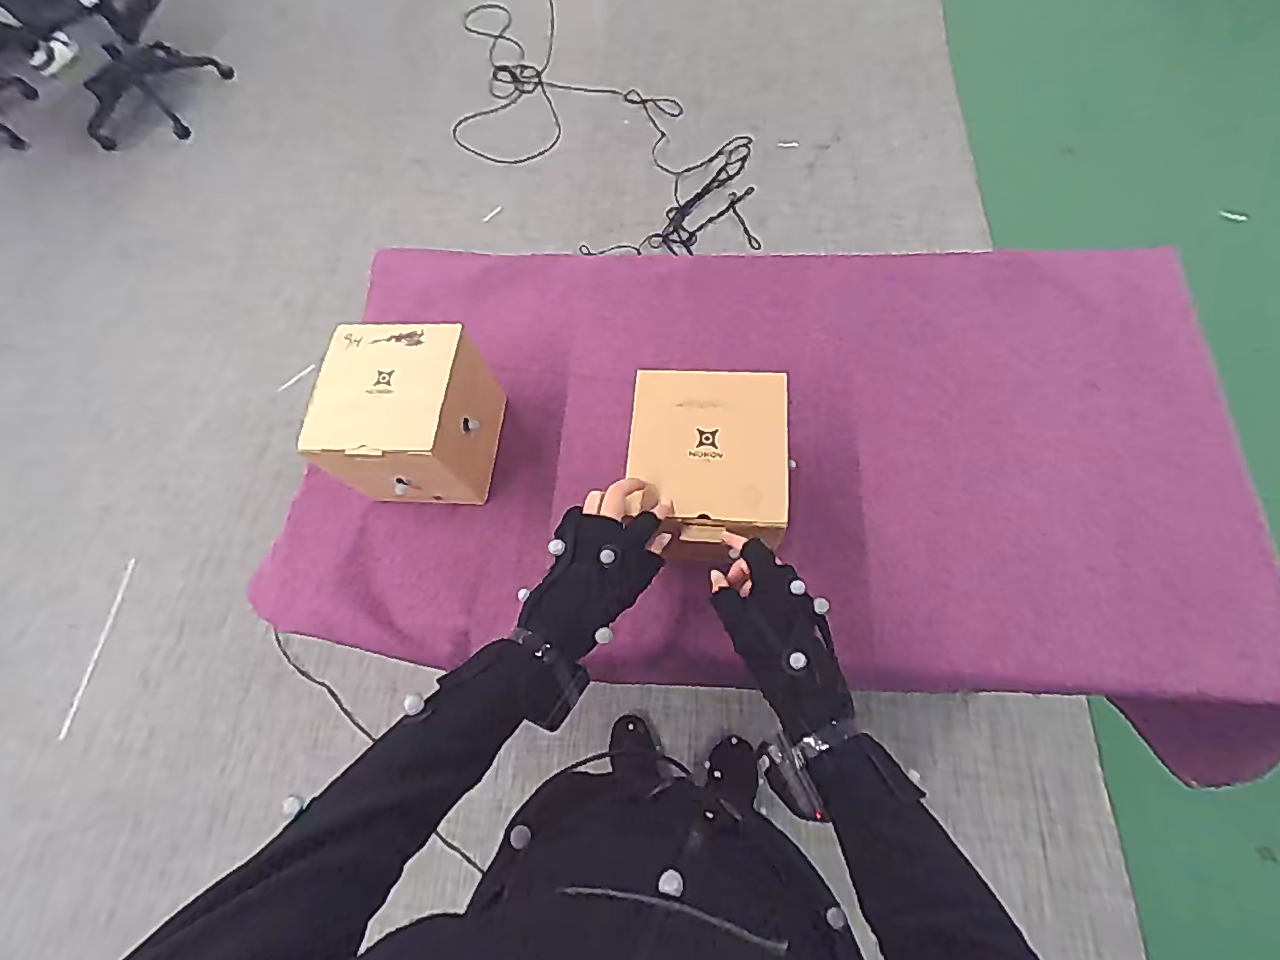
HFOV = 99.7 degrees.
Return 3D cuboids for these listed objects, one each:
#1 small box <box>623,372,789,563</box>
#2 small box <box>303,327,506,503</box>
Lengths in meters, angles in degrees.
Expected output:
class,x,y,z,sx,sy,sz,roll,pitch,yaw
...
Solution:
class,x,y,z,sx,sy,sz,roll,pitch,yaw
small box,0.080,-0.007,0.637,0.168,0.176,0.179,3,68,7
small box,-0.288,-0.077,0.707,0.168,0.176,0.179,2,68,7
